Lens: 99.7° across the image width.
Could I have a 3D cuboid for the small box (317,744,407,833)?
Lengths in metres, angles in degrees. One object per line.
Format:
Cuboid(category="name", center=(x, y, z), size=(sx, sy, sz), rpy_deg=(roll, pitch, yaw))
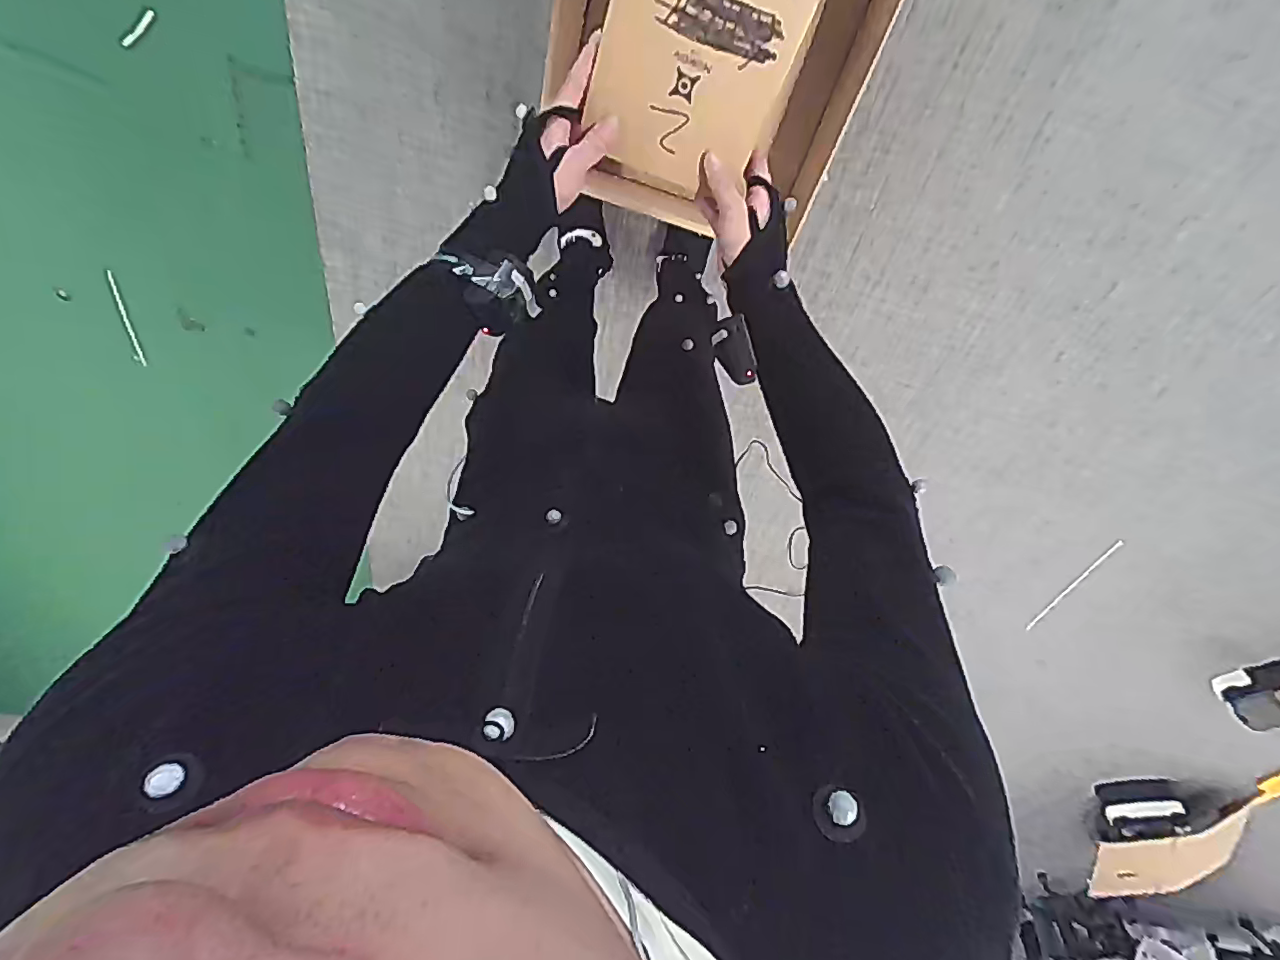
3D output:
Cuboid(category="small box", center=(-0.800, 0.894, 1.571), size=(0.168, 0.176, 0.179), rpy_deg=(27, 129, -16))
